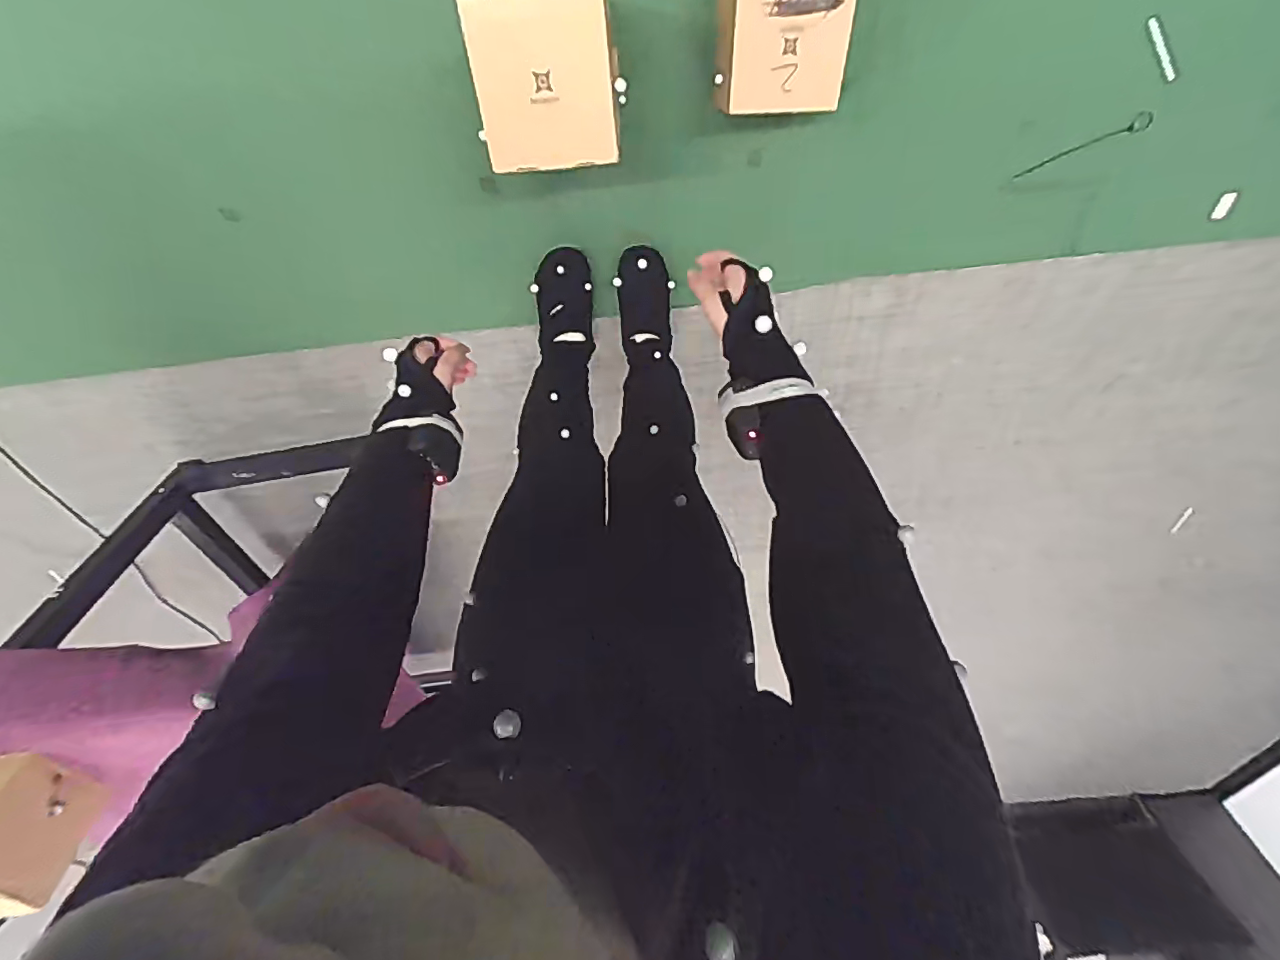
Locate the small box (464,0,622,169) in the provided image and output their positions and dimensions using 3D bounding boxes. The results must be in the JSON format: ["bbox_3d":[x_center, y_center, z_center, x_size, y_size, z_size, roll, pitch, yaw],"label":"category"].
[{"bbox_3d":[-0.113,-0.528,0.710,0.168,0.176,0.179,-4,131,2],"label":"small box"}]

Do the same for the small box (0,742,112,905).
[{"bbox_3d":[-0.986,0.522,0.819,0.179,0.176,0.168,-8,131,0],"label":"small box"}]
